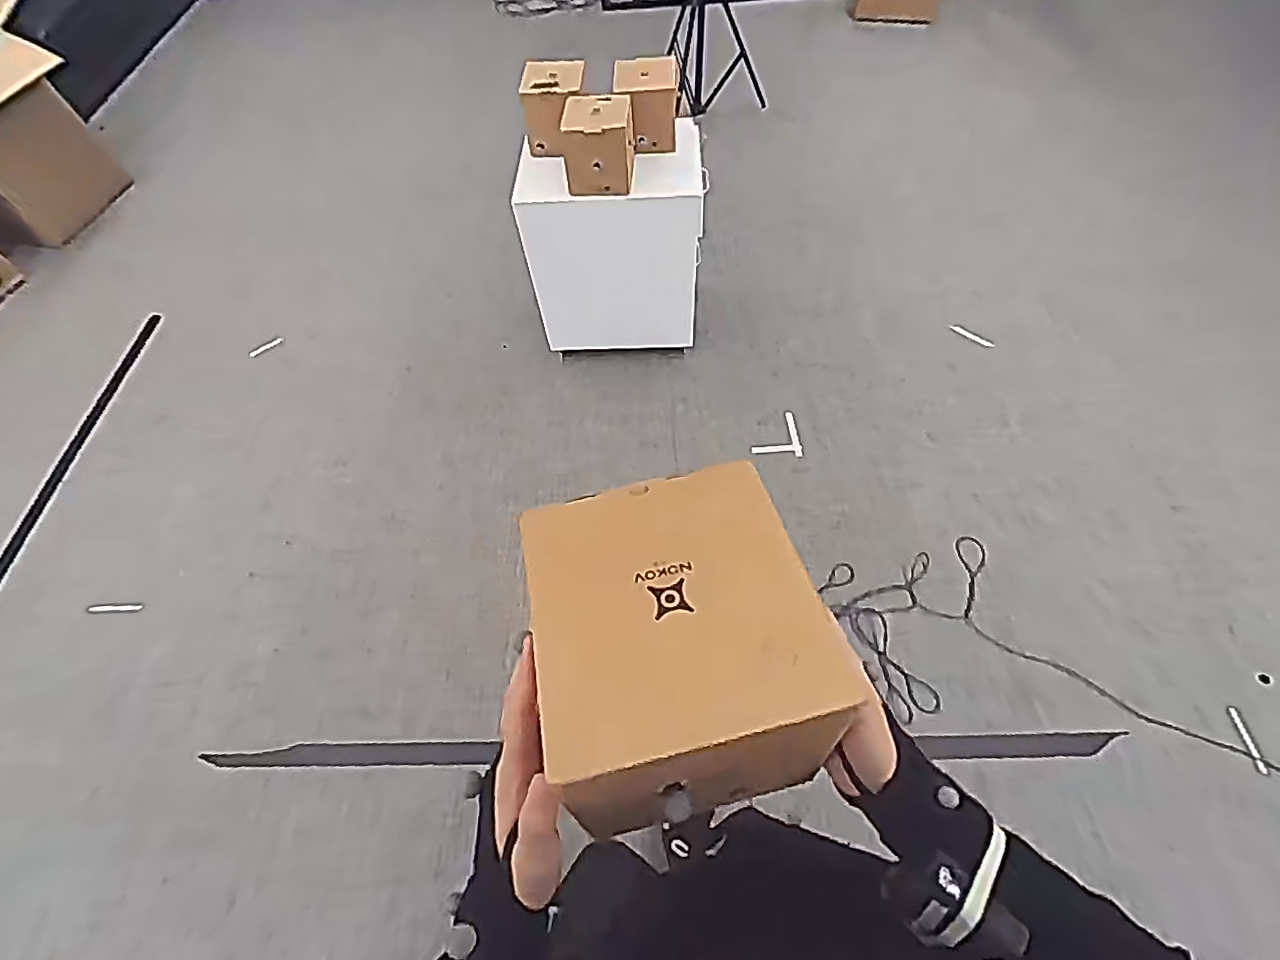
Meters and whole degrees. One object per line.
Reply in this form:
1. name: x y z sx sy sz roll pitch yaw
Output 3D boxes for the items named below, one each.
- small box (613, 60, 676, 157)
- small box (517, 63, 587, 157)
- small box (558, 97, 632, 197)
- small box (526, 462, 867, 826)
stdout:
1. small box: 0.015 -1.037 1.515 0.168 0.176 0.179 -2 61 4
2. small box: -0.235 -1.038 1.526 0.168 0.176 0.179 1 59 3
3. small box: -0.109 -0.869 1.420 0.168 0.176 0.179 1 59 4
4. small box: 0.026 0.119 0.378 0.168 0.176 0.179 -13 48 -6
